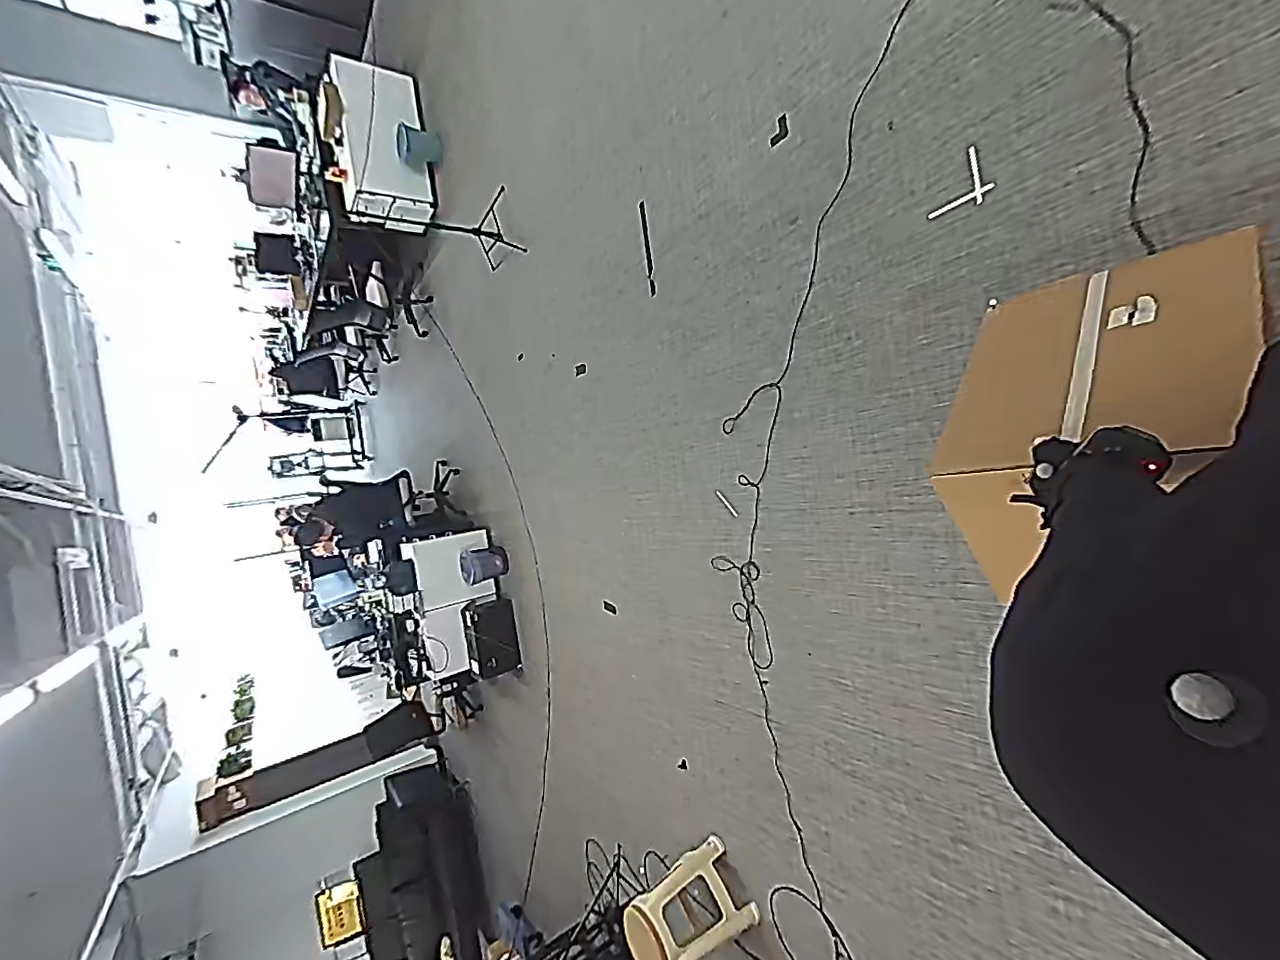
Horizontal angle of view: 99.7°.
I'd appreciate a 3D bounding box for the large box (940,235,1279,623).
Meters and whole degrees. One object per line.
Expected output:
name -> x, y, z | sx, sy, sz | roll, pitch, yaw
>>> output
large box -> 0.692, -0.057, 0.775 | 0.320, 0.408, 0.320 | -8, 130, 52
